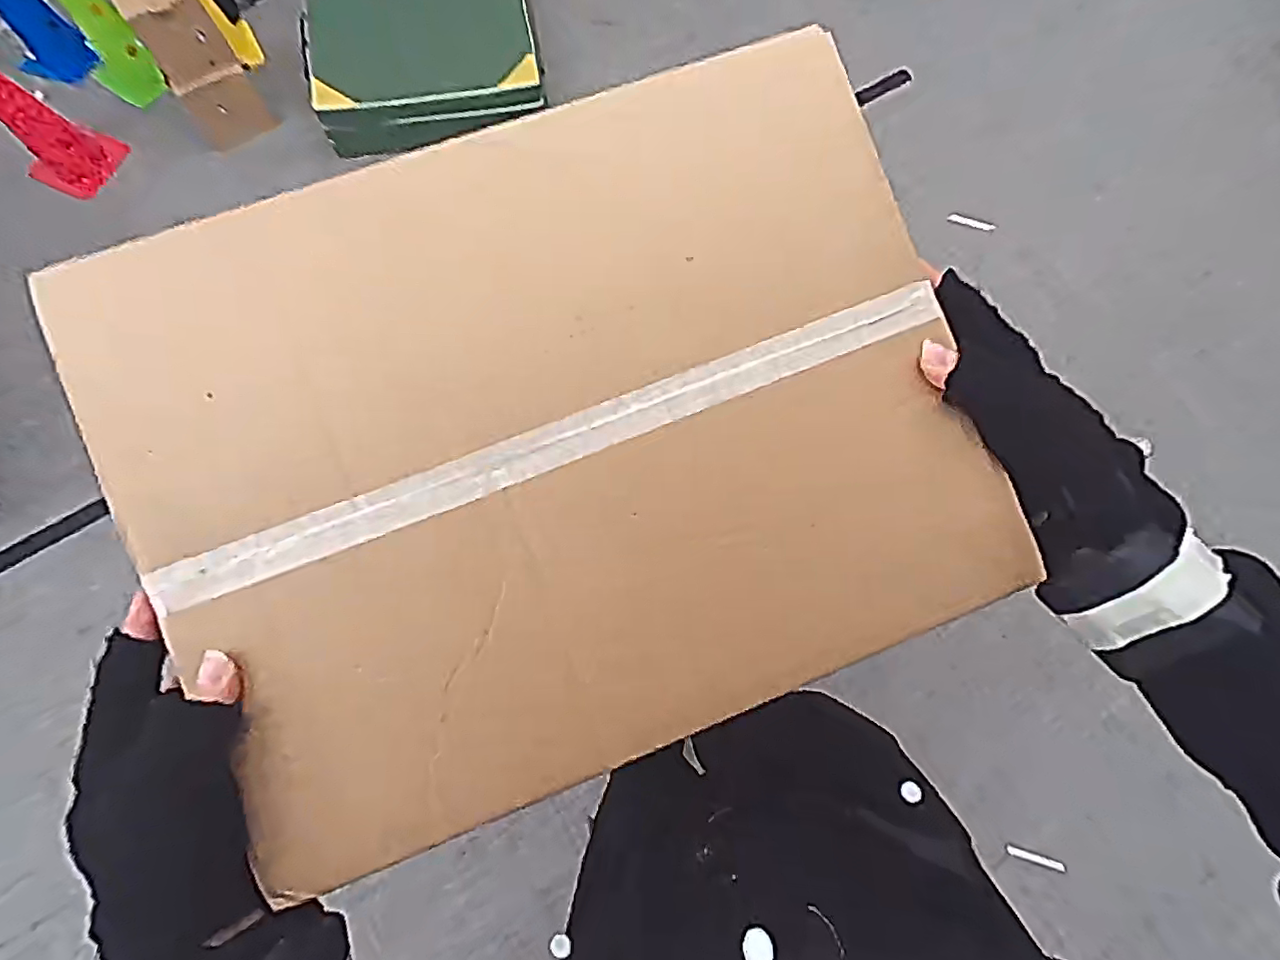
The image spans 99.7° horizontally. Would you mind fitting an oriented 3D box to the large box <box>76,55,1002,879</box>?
[{"bbox_3d":[-0.047,-0.016,0.426,0.408,0.320,0.320,-21,89,-5],"label":"large box"}]
